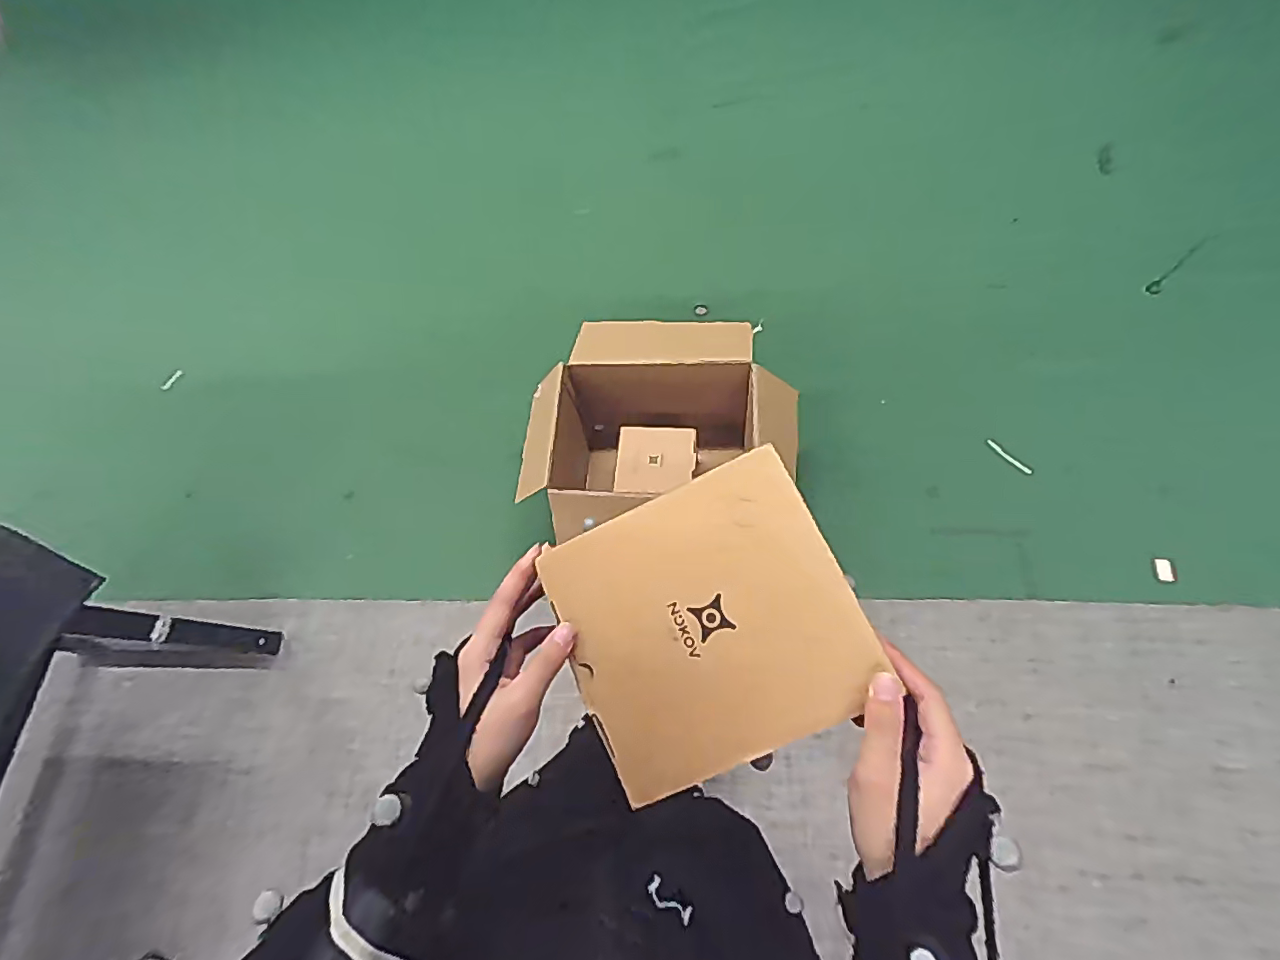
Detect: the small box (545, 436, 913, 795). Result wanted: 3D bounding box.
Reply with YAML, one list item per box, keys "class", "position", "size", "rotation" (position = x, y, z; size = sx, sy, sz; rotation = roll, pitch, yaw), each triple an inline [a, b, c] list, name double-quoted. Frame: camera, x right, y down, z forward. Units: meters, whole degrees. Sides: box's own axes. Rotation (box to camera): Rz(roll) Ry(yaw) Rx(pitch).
- class: "small box"
  position: [0.060, 0.090, 0.405]
  size: [0.179, 0.176, 0.168]
  rotation: [-26, 76, 6]
